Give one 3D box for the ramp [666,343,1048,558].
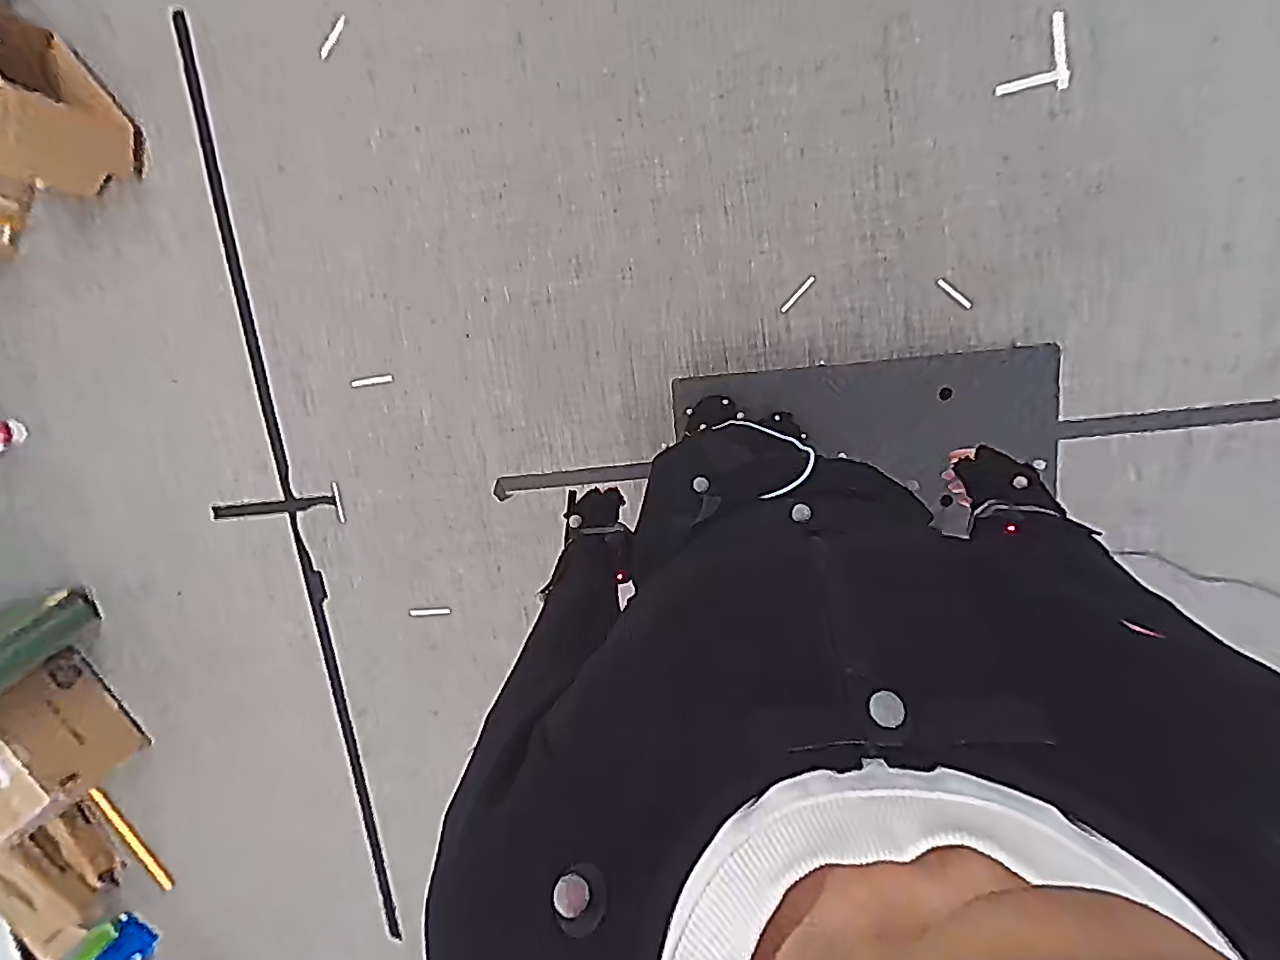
[{"bbox_3d":[0.584,-0.074,1.440,0.991,0.206,0.509,-6,97,11],"label":"ramp"}]
